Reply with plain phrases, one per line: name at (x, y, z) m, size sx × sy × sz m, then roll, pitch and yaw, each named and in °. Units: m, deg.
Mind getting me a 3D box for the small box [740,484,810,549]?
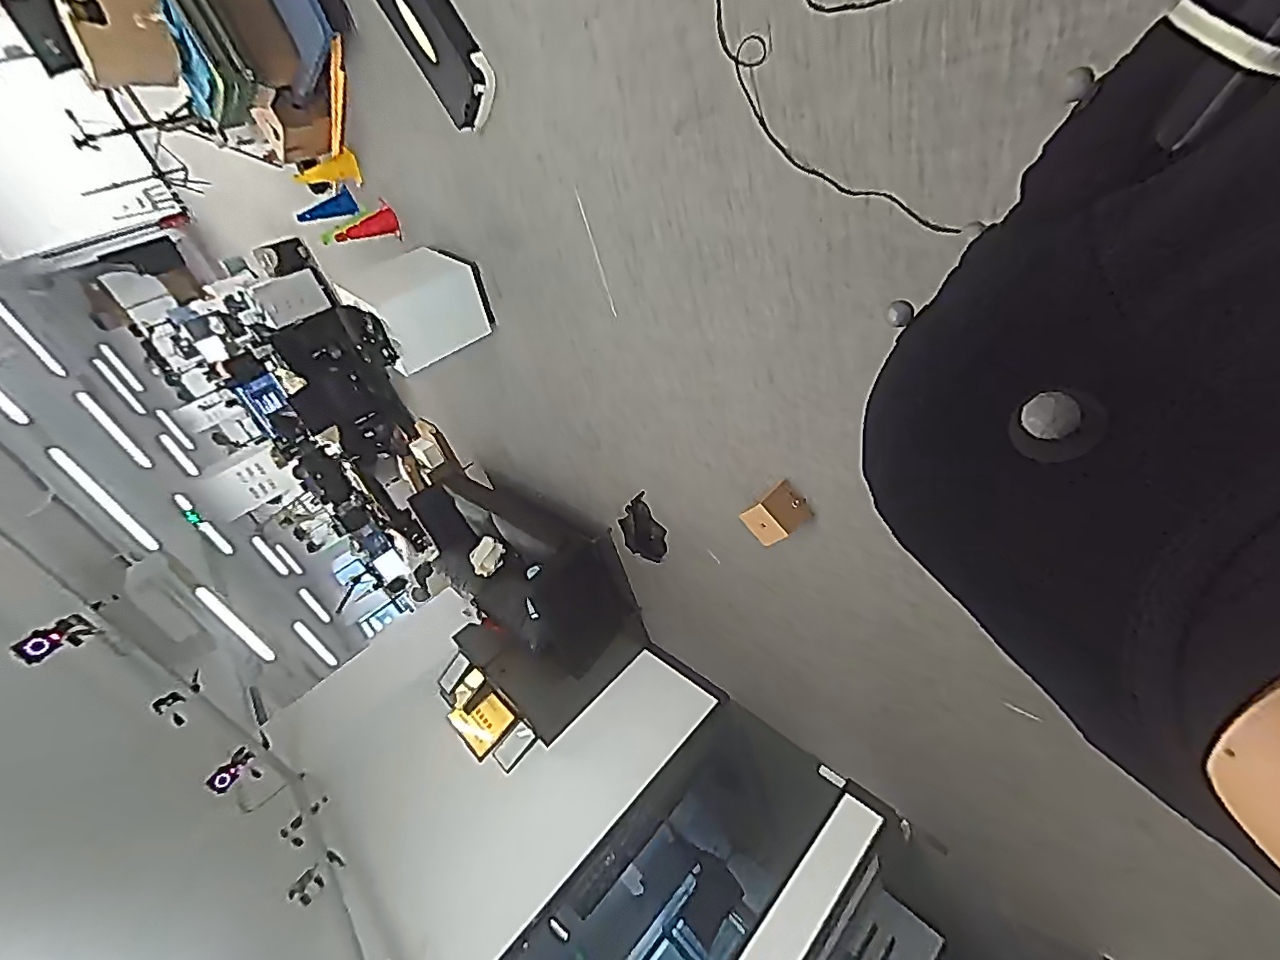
small box at (0.535, 0.144, 2.132) m, size 0.168 × 0.176 × 0.179 m, roll 49°, pitch 152°, yaw 4°
